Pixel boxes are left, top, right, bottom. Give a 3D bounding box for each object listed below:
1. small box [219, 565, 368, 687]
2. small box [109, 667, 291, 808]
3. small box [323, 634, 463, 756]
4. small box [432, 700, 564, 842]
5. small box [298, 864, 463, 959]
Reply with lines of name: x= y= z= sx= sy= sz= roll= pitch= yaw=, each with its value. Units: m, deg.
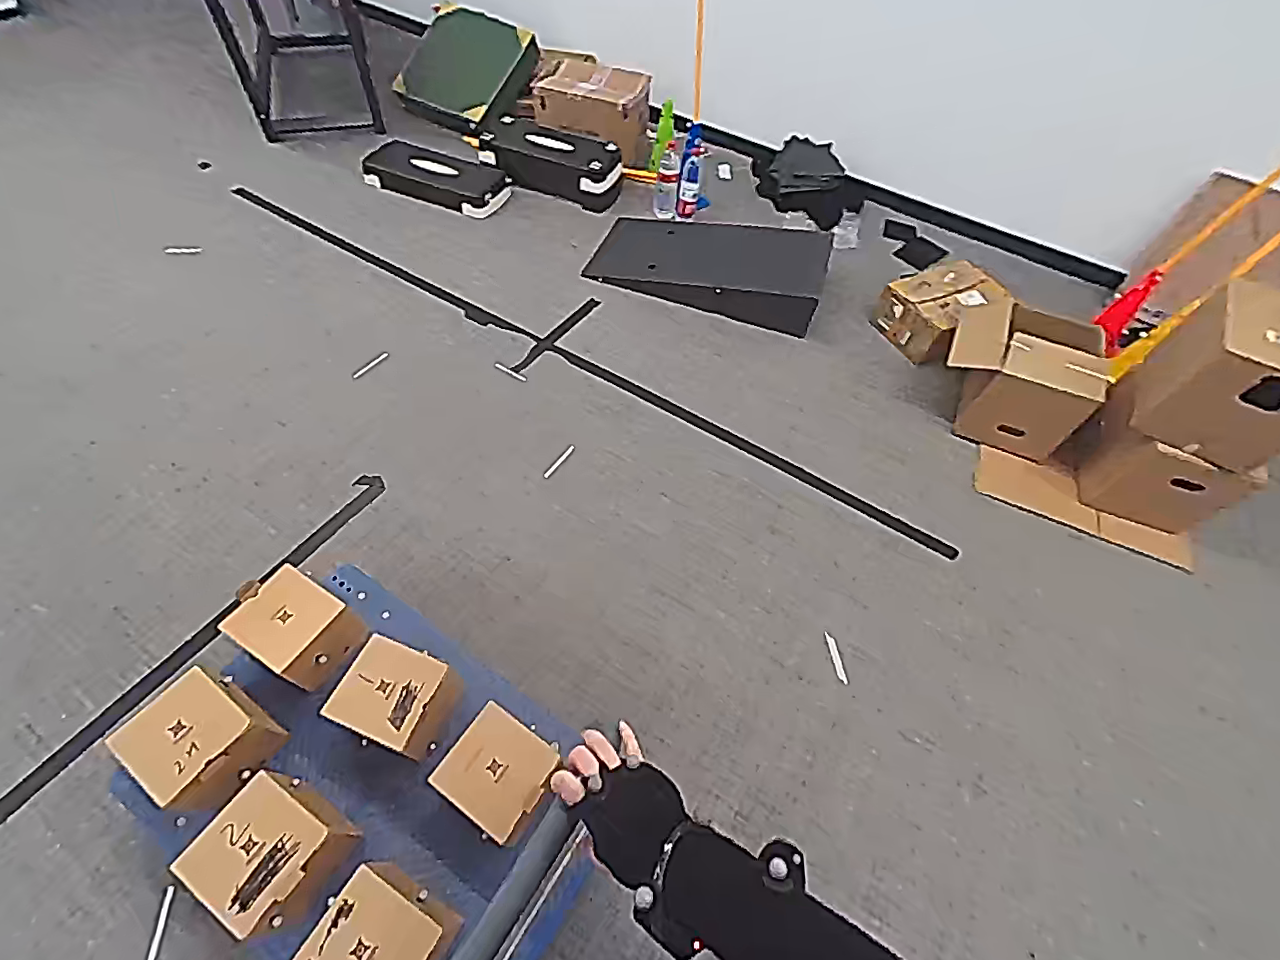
small box: x=-0.720 y=0.317 z=1.149 sx=0.179 sy=0.176 sz=0.168 roll=28 pitch=58 yaw=12
small box: x=-0.815 y=0.491 z=1.020 sx=0.179 sy=0.176 sz=0.168 roll=32 pitch=59 yaw=14
small box: x=-0.483 y=0.440 z=1.092 sx=0.179 sy=0.176 sz=0.168 roll=19 pitch=57 yaw=8
small box: x=-0.260 y=0.558 z=1.038 sx=0.179 sy=0.176 sz=0.168 roll=30 pitch=58 yaw=15
small box: x=-0.417 y=0.760 z=0.884 sx=0.179 sy=0.176 sz=0.168 roll=28 pitch=57 yaw=12
